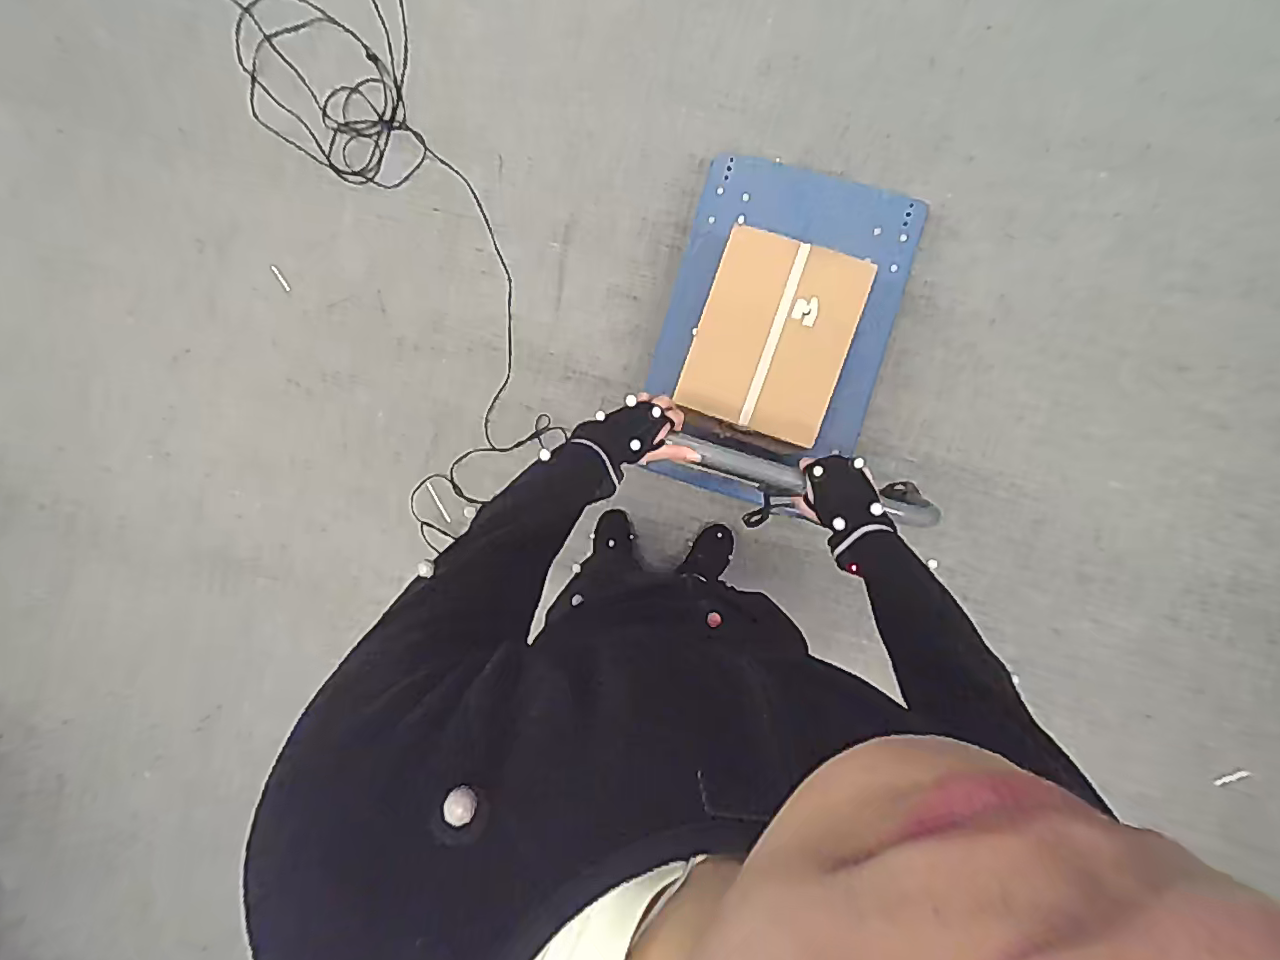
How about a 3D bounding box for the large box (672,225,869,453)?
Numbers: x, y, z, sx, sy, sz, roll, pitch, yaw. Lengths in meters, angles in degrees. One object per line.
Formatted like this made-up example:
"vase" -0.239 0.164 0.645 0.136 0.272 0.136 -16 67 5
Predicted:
"large box" 0.285 -0.305 1.285 0.320 0.320 0.408 19 91 4
